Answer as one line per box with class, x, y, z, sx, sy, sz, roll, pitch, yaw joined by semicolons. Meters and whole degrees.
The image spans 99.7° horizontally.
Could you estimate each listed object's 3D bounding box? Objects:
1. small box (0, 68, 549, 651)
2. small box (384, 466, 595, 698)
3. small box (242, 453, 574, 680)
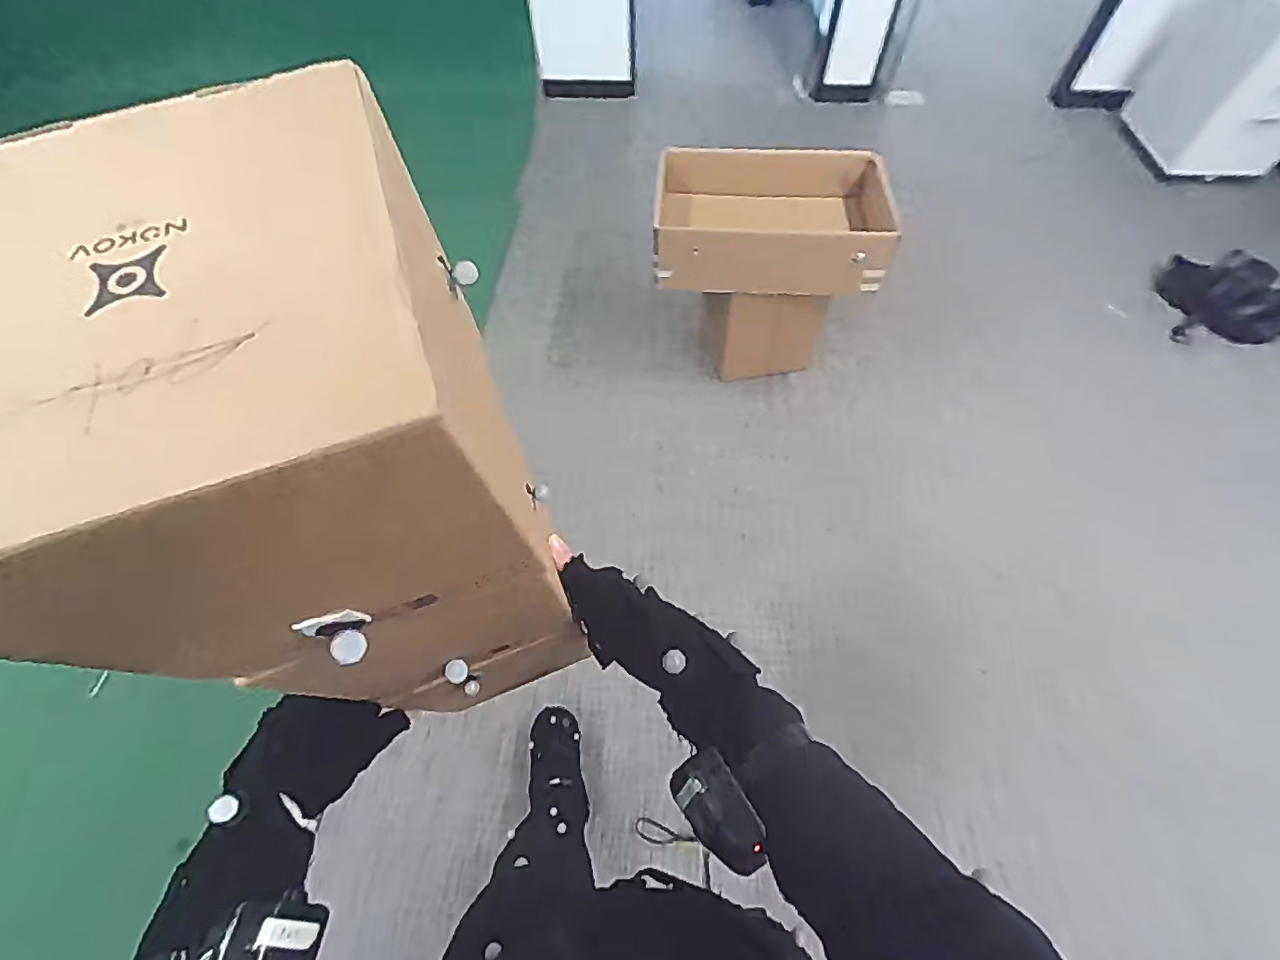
small box;-0.154;-0.037;0.253;0.168;0.176;0.179;-19;68;-6
small box;-0.153;0.103;0.548;0.168;0.176;0.179;-20;66;-7
small box;-0.157;0.030;0.399;0.168;0.176;0.179;-19;67;-7
